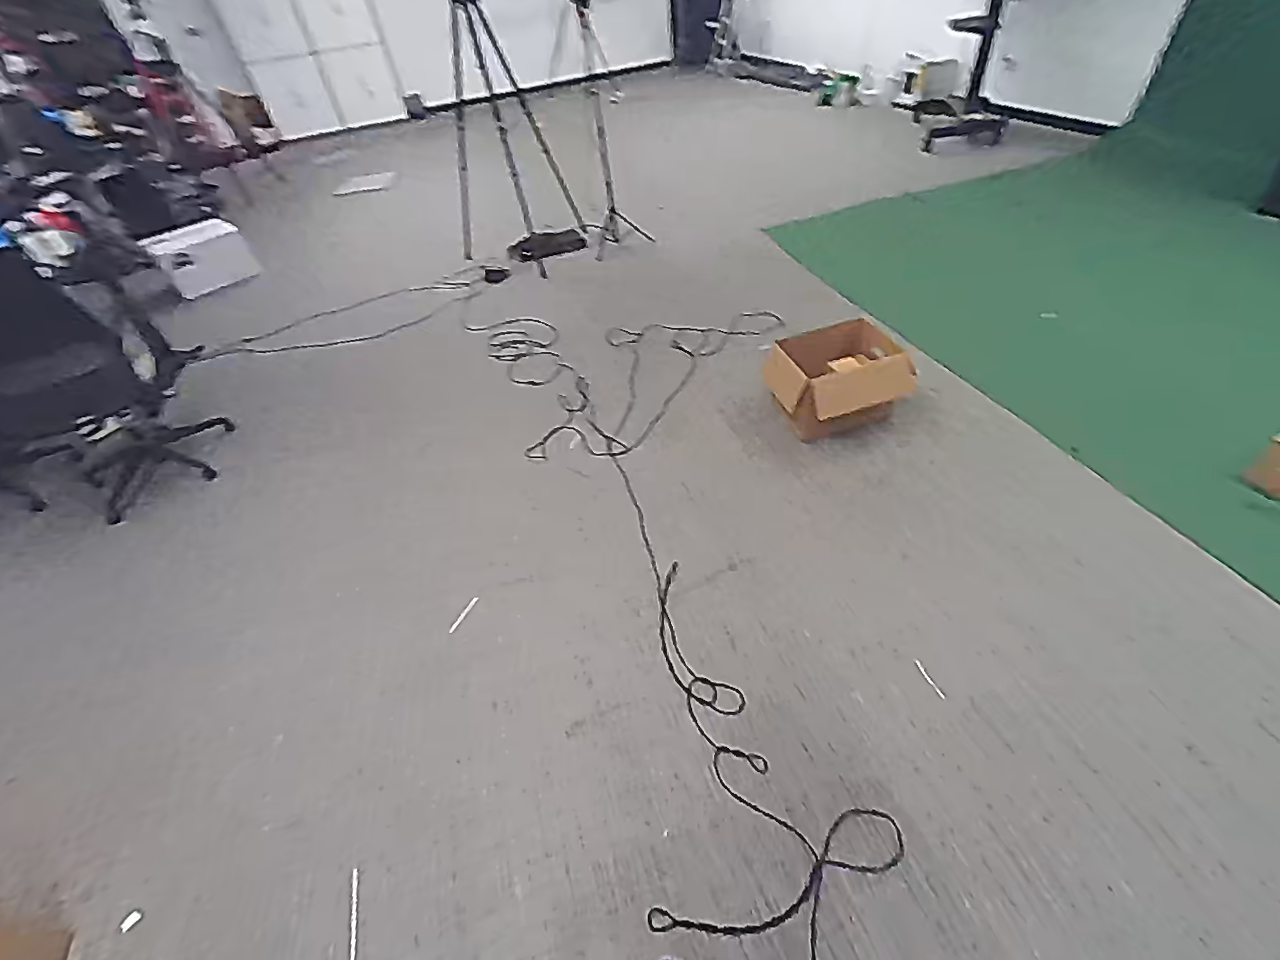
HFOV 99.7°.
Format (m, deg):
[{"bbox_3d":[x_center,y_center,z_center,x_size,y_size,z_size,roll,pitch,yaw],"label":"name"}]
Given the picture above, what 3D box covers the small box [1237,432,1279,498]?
[{"bbox_3d":[2.094,-0.050,1.714,0.168,0.176,0.179,-19,44,-10],"label":"small box"}]
